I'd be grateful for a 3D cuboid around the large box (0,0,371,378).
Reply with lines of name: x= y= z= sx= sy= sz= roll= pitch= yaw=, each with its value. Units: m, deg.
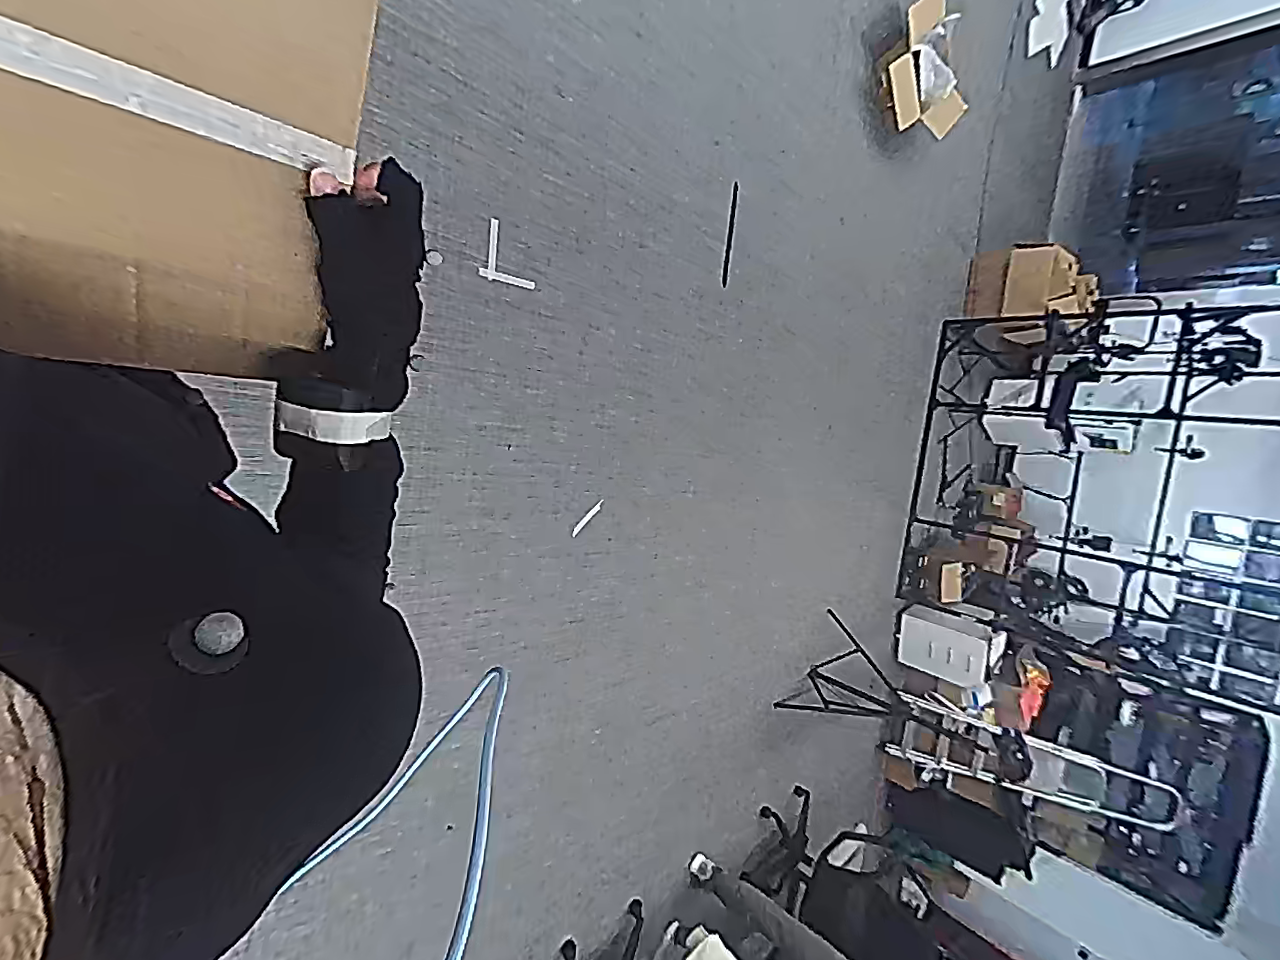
large box: x=-0.420 y=-0.284 z=0.304 sx=0.408 sy=0.320 sz=0.320 roll=0 pitch=128 yaw=-43
